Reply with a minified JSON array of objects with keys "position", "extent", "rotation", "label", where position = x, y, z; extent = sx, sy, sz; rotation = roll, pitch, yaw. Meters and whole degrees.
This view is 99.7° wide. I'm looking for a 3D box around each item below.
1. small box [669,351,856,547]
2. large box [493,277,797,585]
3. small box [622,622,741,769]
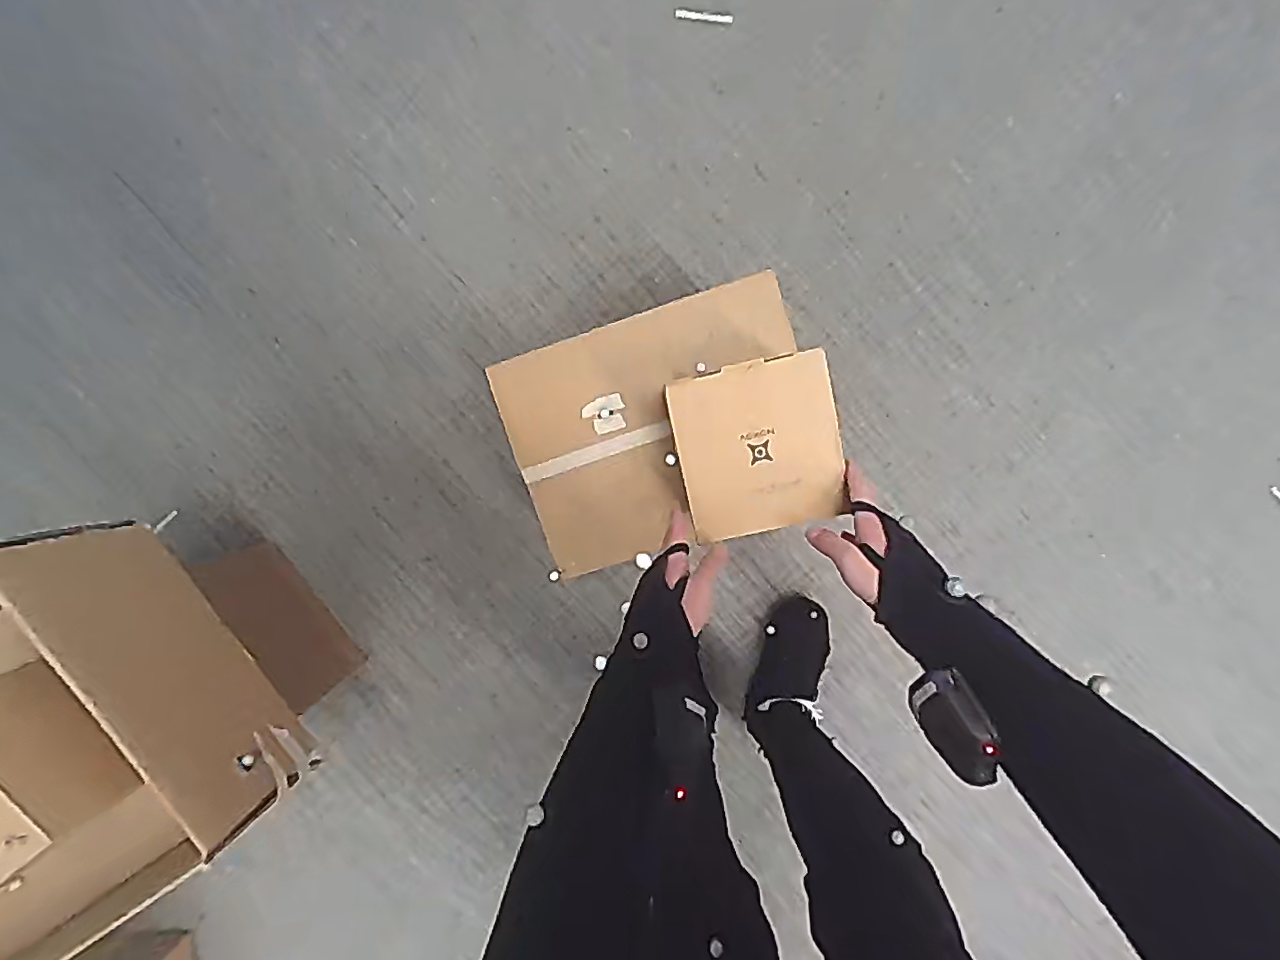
[{"position":[0.128,-0.038,0.627],"extent":[0.168,0.176,0.179],"rotation":[-12,97,4],"label":"small box"},{"position":[0.043,-0.076,0.874],"extent":[0.408,0.320,0.320],"rotation":[-18,94,5],"label":"large box"},{"position":[0.077,0.392,1.009],"extent":[0.179,0.176,0.168],"rotation":[26,93,8],"label":"small box"}]
